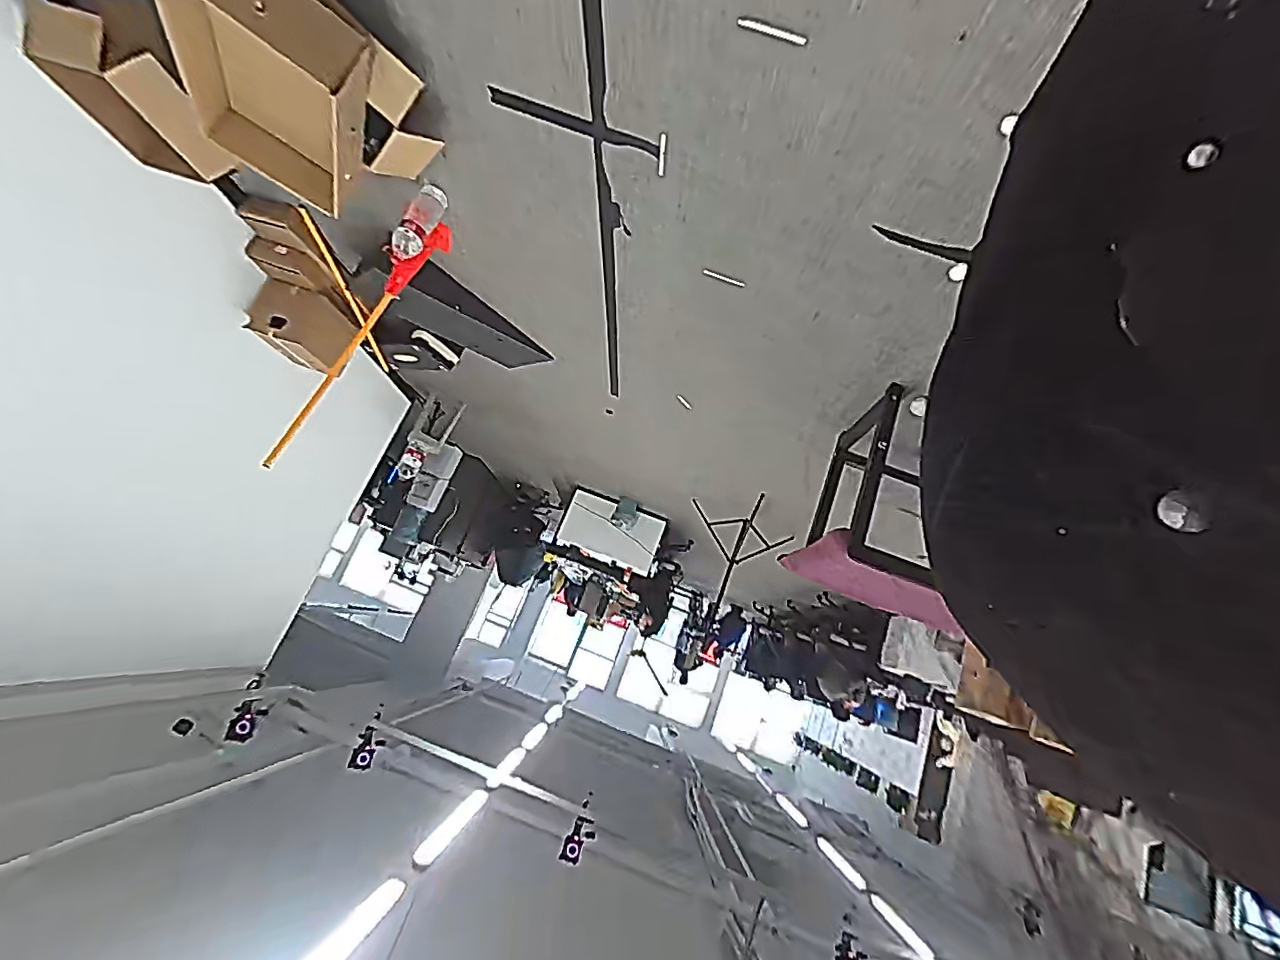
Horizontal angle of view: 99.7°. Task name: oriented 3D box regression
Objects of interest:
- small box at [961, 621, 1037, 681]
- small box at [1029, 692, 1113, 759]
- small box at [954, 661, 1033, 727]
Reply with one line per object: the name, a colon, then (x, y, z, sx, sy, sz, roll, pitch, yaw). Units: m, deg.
small box: (1.375, 0.650, 2.067, 0.179, 0.176, 0.168, 21, 165, 7)
small box: (1.597, 0.902, 2.004, 0.179, 0.176, 0.168, 20, 165, 10)
small box: (1.318, 0.792, 2.012, 0.179, 0.176, 0.168, 22, 164, 4)
